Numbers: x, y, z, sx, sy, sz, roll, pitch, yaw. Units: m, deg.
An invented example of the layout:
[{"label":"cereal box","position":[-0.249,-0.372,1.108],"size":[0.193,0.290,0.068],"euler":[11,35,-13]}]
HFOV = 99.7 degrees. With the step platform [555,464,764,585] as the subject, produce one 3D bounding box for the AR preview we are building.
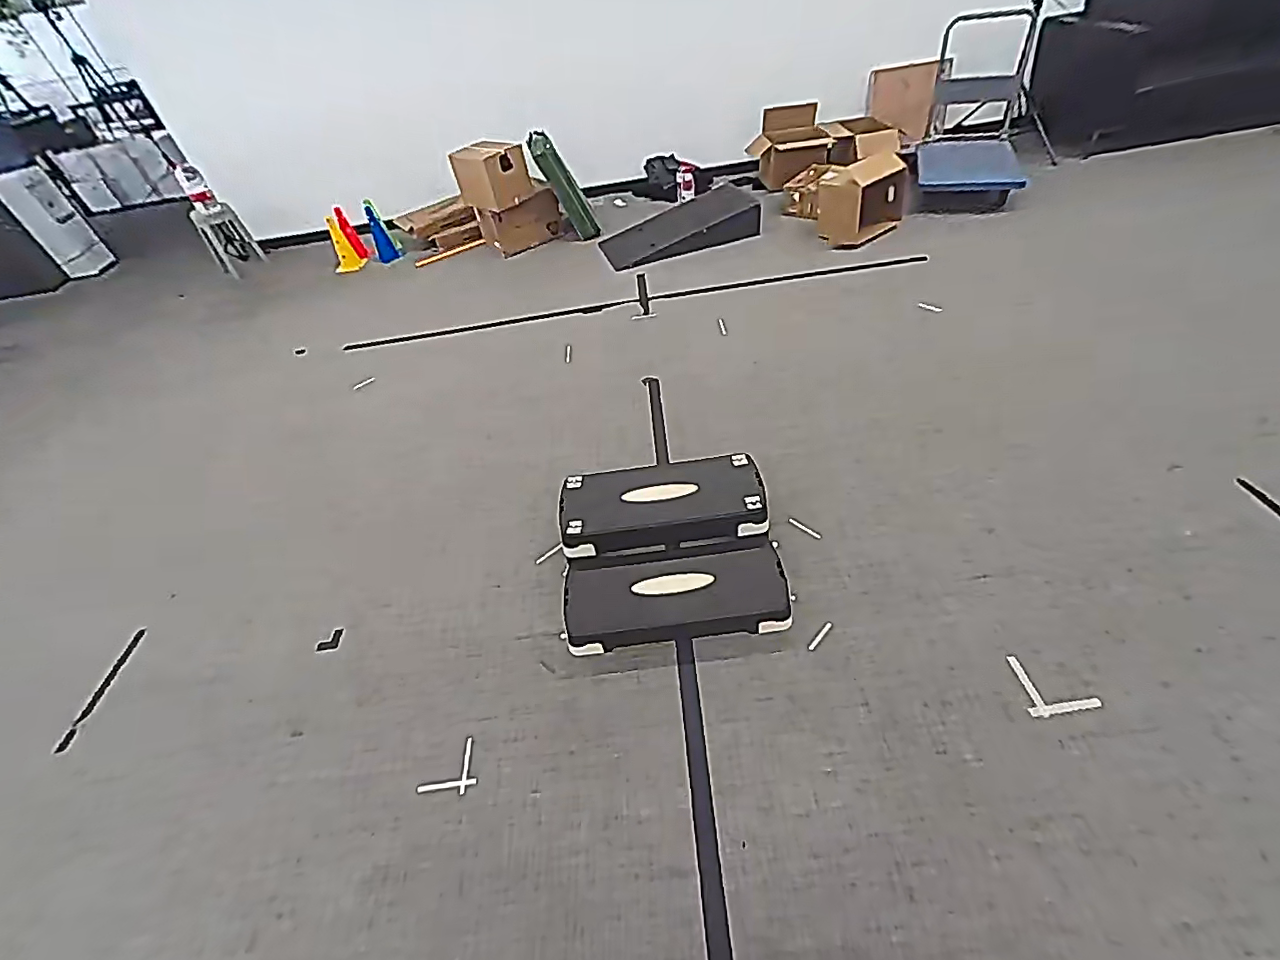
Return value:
[{"label":"step platform","position":[0.062,0.142,1.802],"size":[0.684,0.204,0.286],"euler":[-8,45,1]}]
